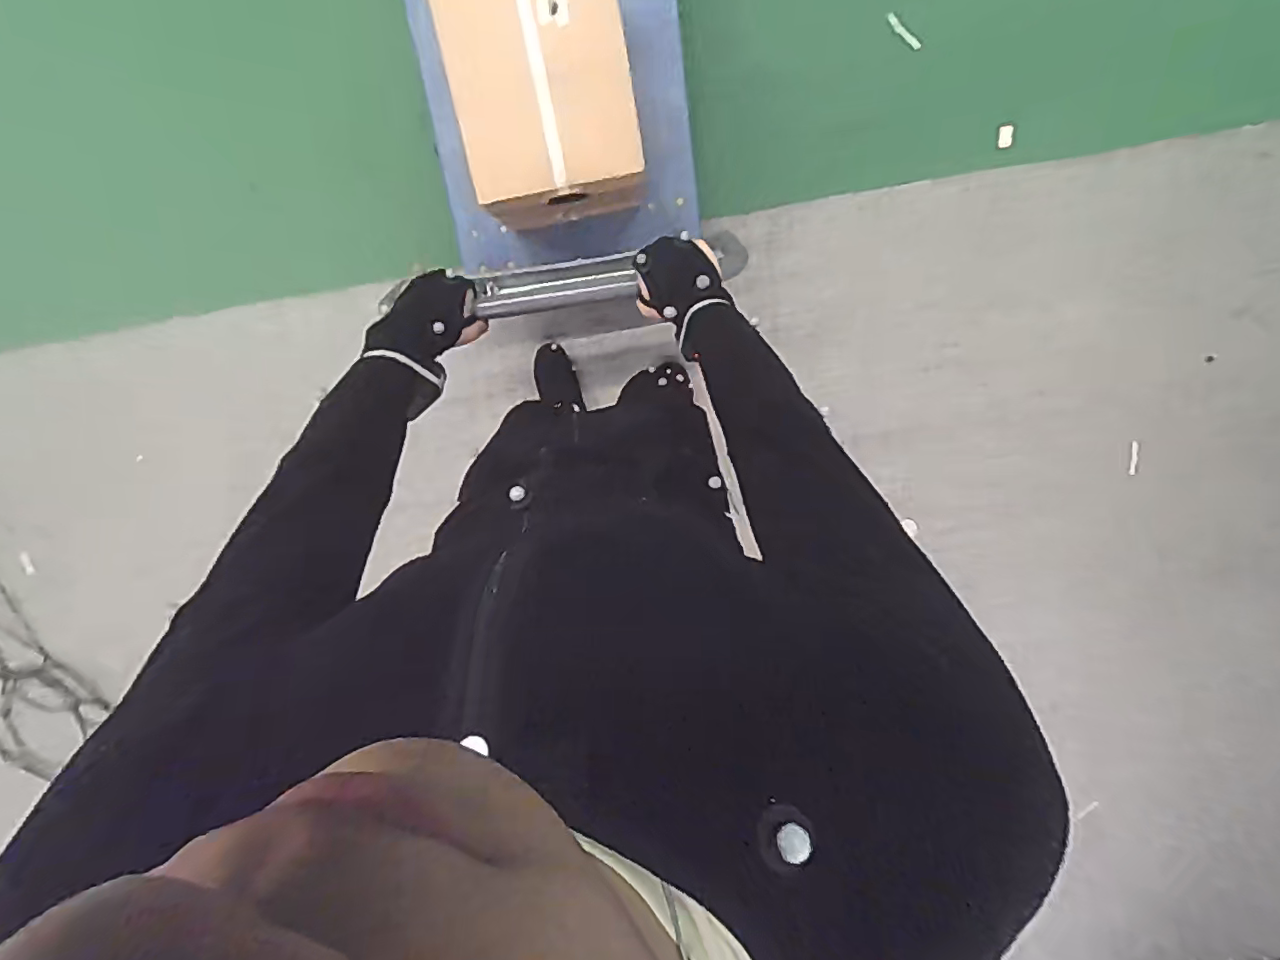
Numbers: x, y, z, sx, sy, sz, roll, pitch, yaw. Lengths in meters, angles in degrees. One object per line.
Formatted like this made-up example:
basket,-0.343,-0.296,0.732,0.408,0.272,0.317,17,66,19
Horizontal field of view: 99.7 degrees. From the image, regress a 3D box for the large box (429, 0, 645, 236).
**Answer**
large box,-0.179,-0.754,1.086,0.320,0.320,0.408,-11,106,2
